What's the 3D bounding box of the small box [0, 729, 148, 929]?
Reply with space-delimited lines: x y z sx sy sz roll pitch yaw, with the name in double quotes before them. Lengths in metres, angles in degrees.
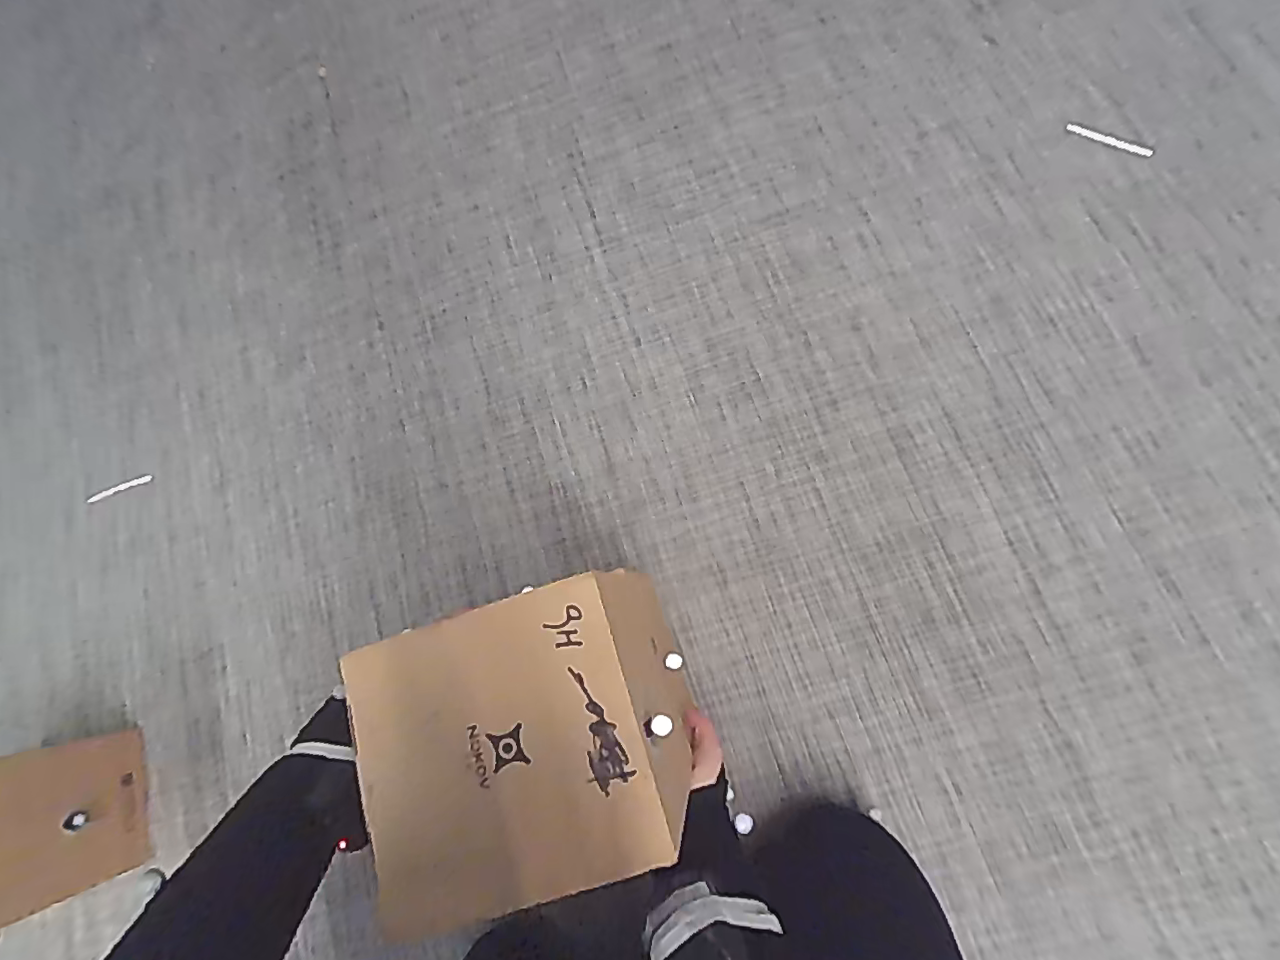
"small box" -0.721 0.408 0.627 0.179 0.176 0.168 -19 74 5
